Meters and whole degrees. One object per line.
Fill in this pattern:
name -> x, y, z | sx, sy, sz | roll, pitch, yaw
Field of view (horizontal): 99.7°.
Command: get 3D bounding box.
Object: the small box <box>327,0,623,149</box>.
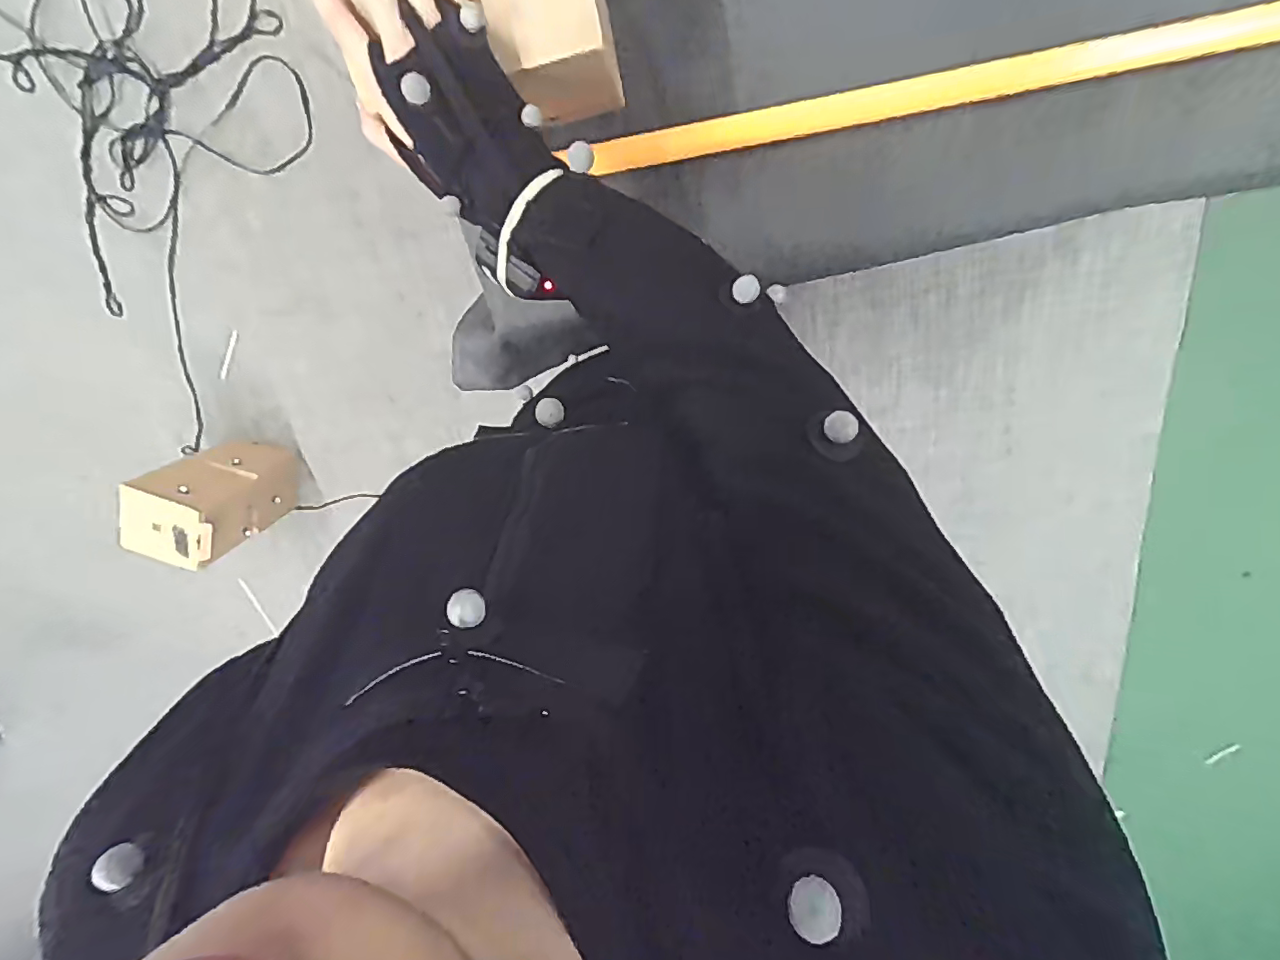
small box -> -0.114, -0.363, 0.384 | 0.168, 0.176, 0.179 | -10, 113, 8

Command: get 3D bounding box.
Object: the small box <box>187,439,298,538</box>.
small box -> -1.012, 0.018, 1.390 | 0.168, 0.176, 0.179 | 15, 113, -3

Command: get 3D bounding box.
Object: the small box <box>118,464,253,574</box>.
small box -> -1.032, 0.082, 1.239 | 0.179, 0.176, 0.168 | 20, 112, -5
